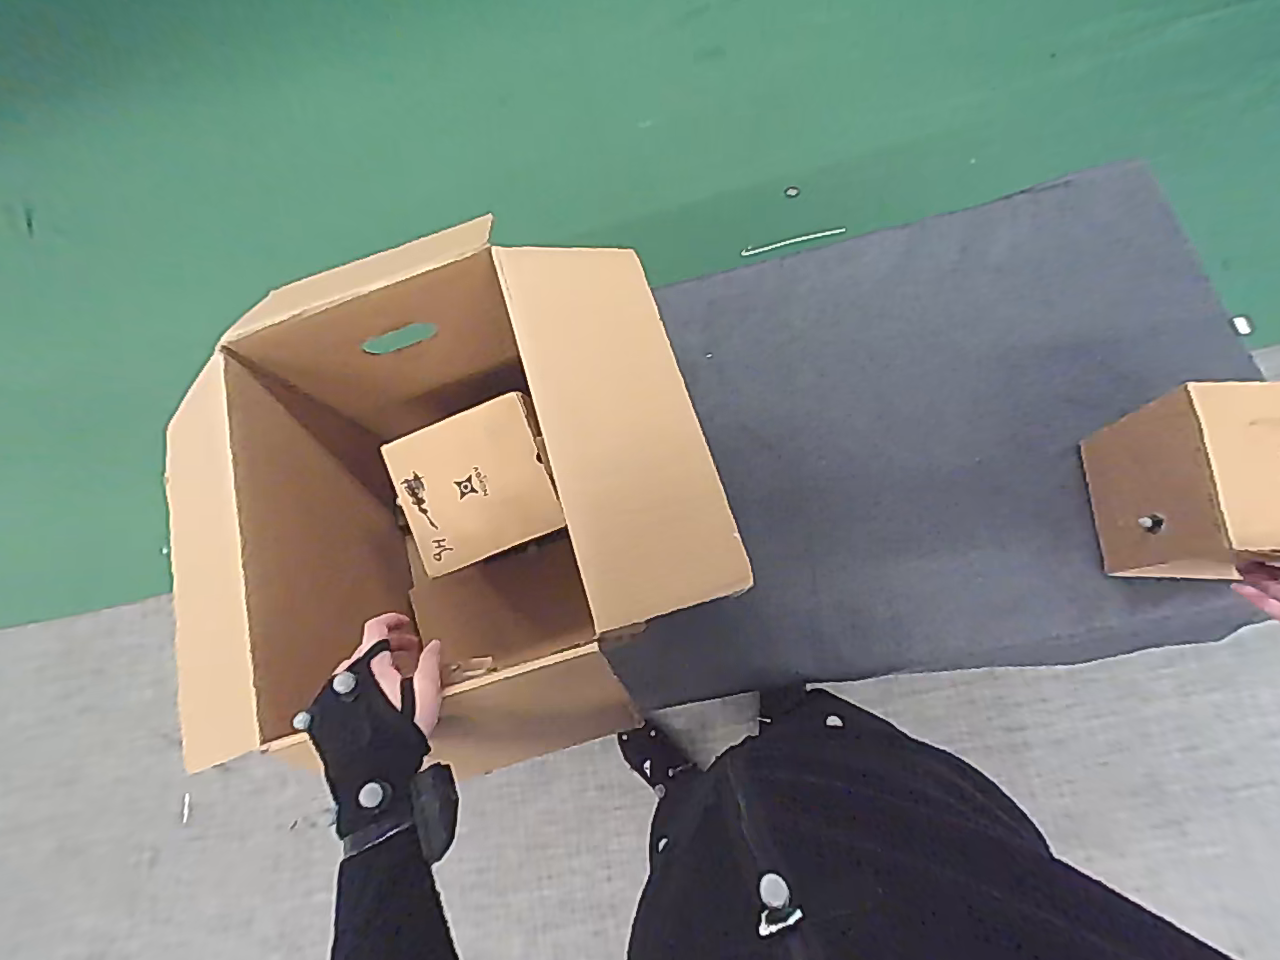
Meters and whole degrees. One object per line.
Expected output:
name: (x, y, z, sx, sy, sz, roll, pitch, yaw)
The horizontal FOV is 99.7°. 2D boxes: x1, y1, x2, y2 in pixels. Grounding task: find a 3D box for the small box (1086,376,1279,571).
small box: (0.645, 0.002, 0.595, 0.168, 0.176, 0.179, 2, 72, 6)
